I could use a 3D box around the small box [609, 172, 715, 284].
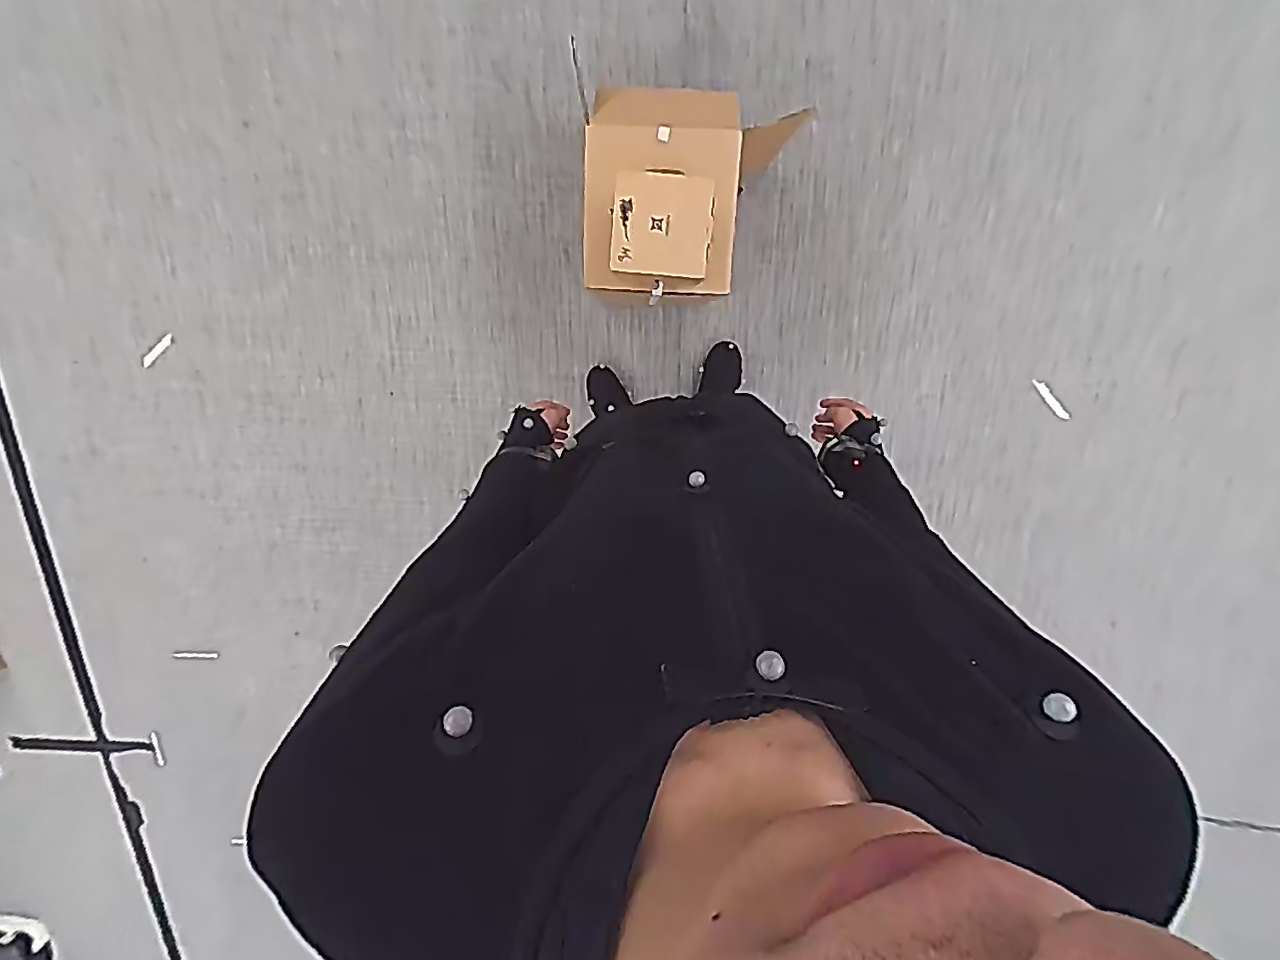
[{"bbox_3d":[0.037,-0.474,1.039,0.179,0.176,0.168,6,107,-1],"label":"small box"}]
